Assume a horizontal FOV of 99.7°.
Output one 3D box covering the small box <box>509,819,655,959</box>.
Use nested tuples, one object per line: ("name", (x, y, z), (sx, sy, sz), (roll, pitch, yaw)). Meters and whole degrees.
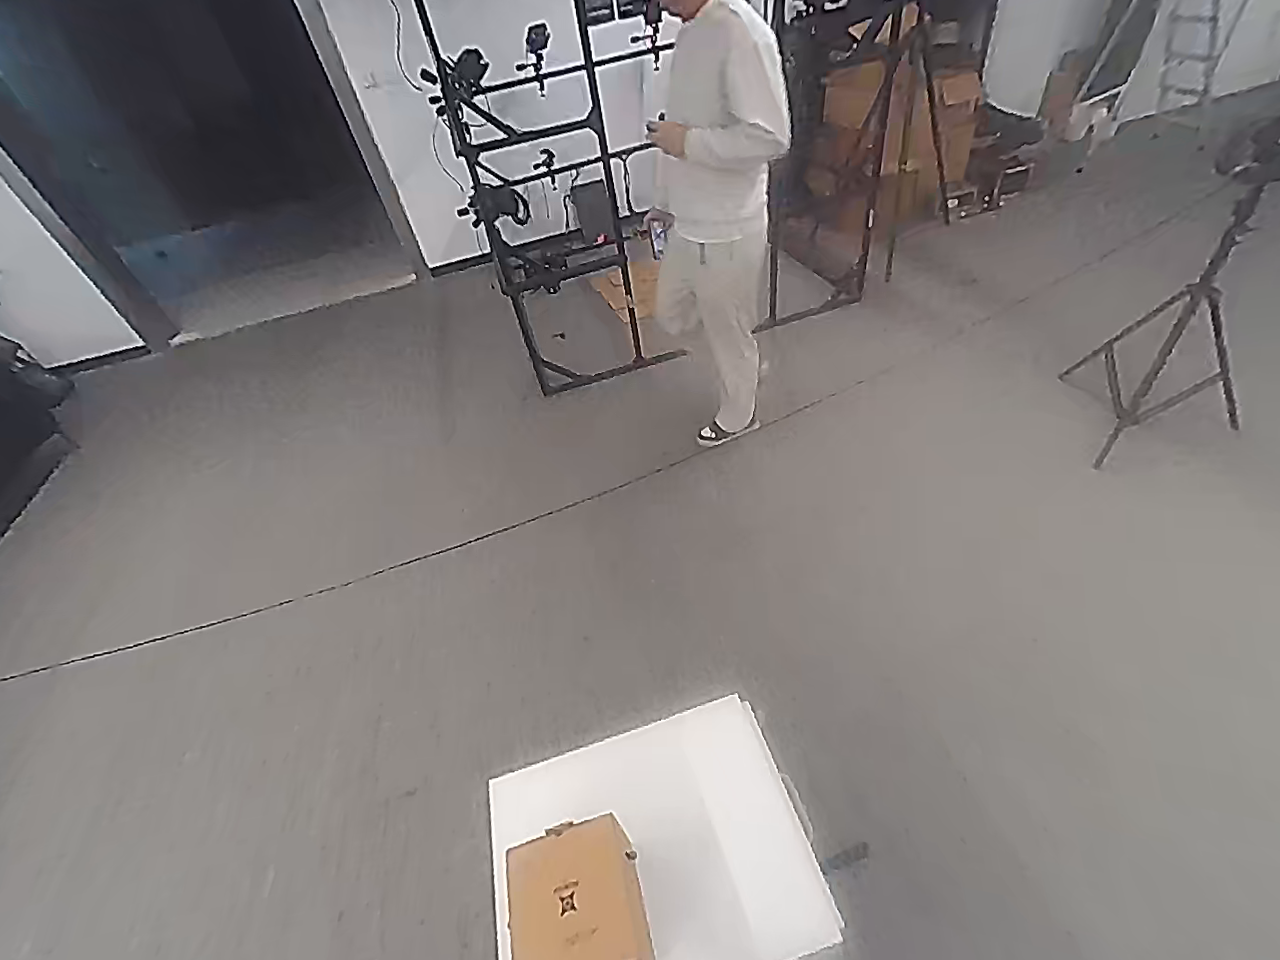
("small box", (-0.083, 0.637, 0.787), (0.168, 0.176, 0.179), (-17, 42, -4))
